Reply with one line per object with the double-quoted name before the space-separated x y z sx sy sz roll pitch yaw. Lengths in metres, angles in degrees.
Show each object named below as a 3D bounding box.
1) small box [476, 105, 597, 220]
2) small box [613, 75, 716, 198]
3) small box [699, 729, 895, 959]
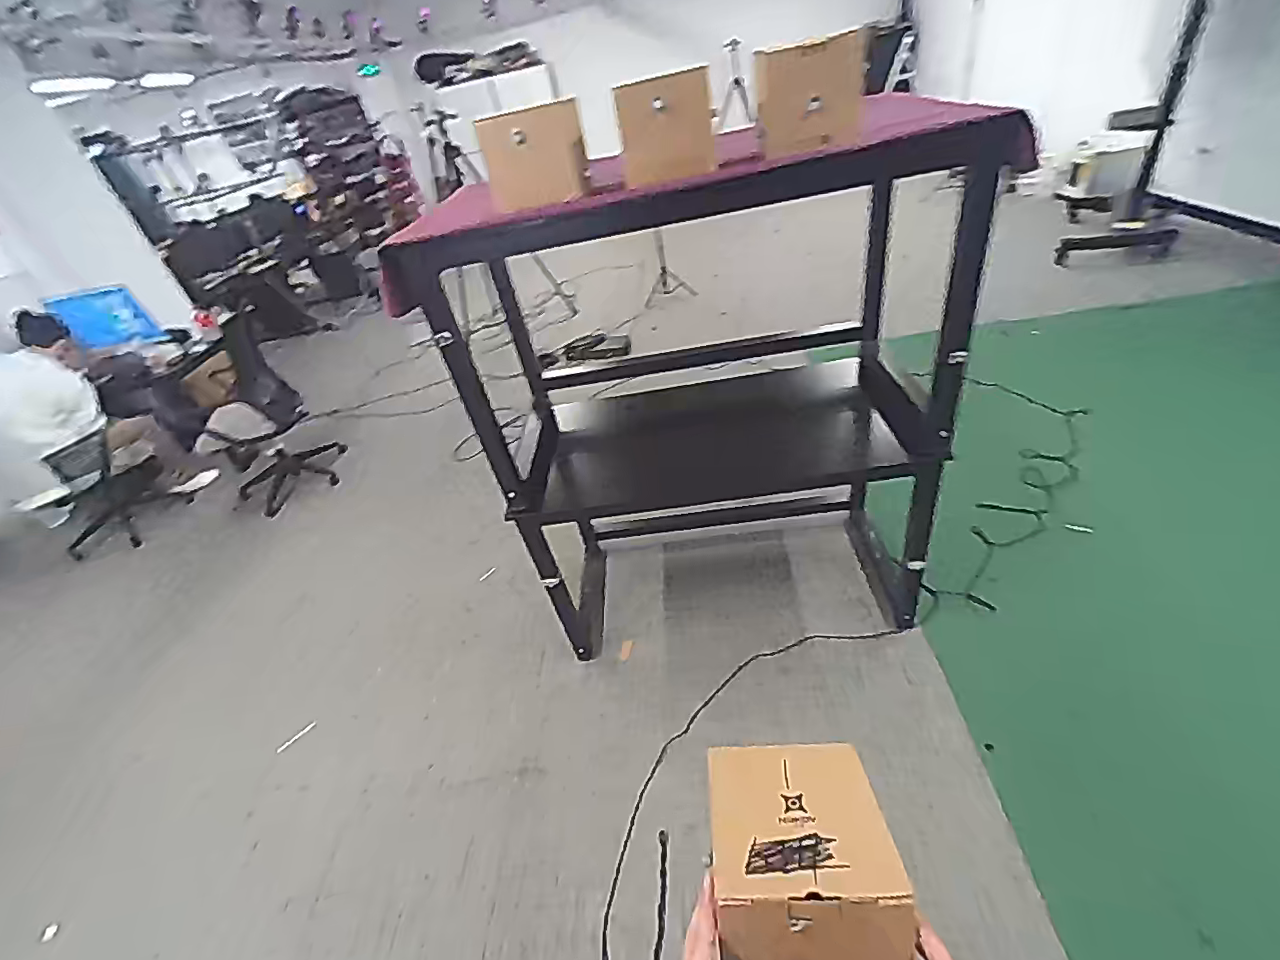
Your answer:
"small box" -0.199 -0.641 1.098 0.179 0.176 0.168 -5 37 10
"small box" 0.054 -0.676 1.065 0.179 0.176 0.168 -9 35 7
"small box" 0.153 0.393 0.562 0.168 0.176 0.179 -5 14 6
